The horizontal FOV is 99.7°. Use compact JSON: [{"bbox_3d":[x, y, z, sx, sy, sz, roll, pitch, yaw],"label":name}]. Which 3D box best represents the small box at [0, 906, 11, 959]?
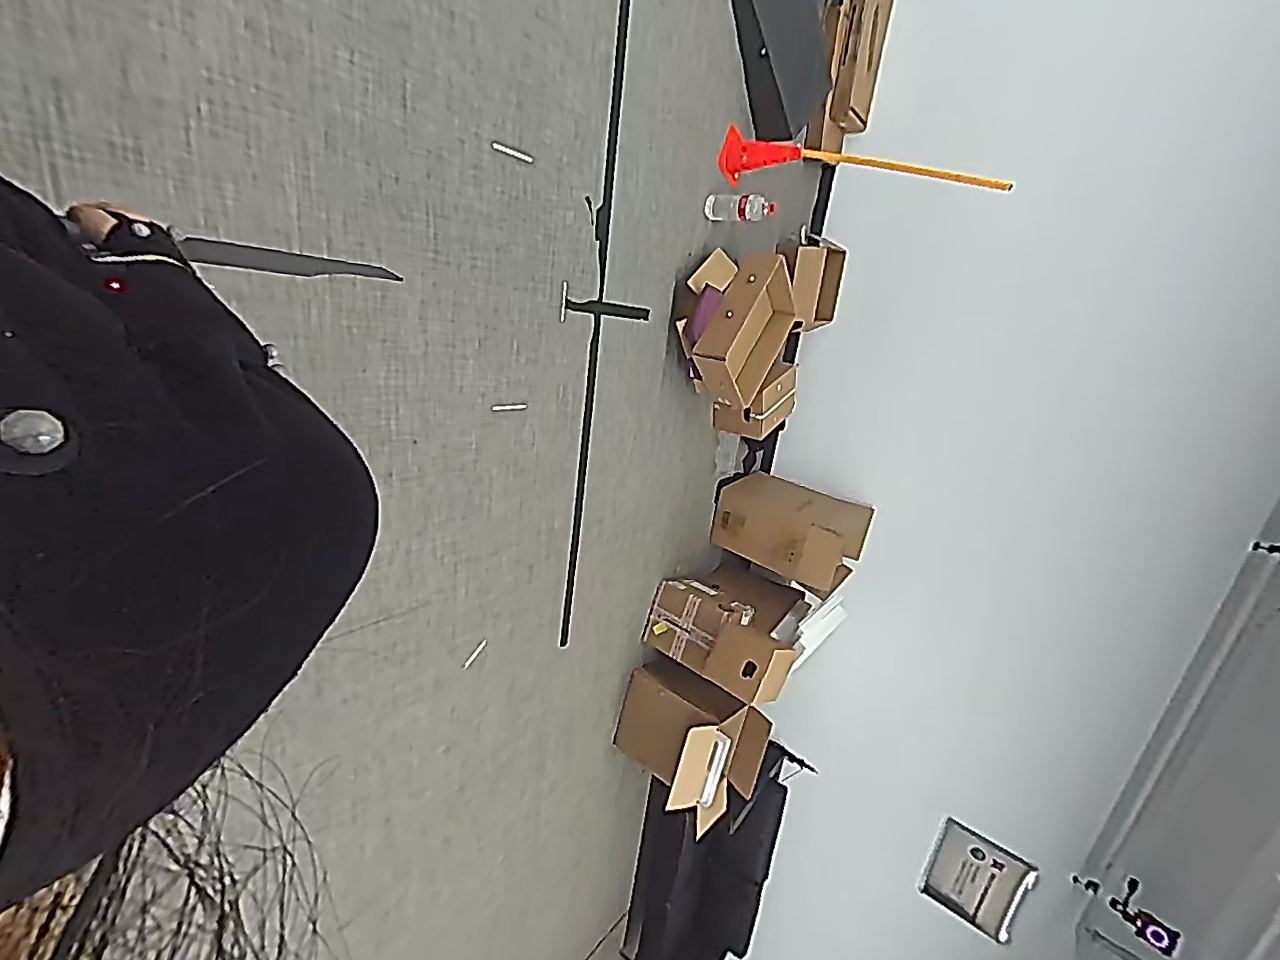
[{"bbox_3d":[-1.407,0.920,1.076,0.168,0.176,0.179,-18,122,-49],"label":"small box"}]

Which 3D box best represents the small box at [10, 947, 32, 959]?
[{"bbox_3d":[-1.433,1.182,1.177,0.168,0.176,0.179,-24,125,-47],"label":"small box"}]
